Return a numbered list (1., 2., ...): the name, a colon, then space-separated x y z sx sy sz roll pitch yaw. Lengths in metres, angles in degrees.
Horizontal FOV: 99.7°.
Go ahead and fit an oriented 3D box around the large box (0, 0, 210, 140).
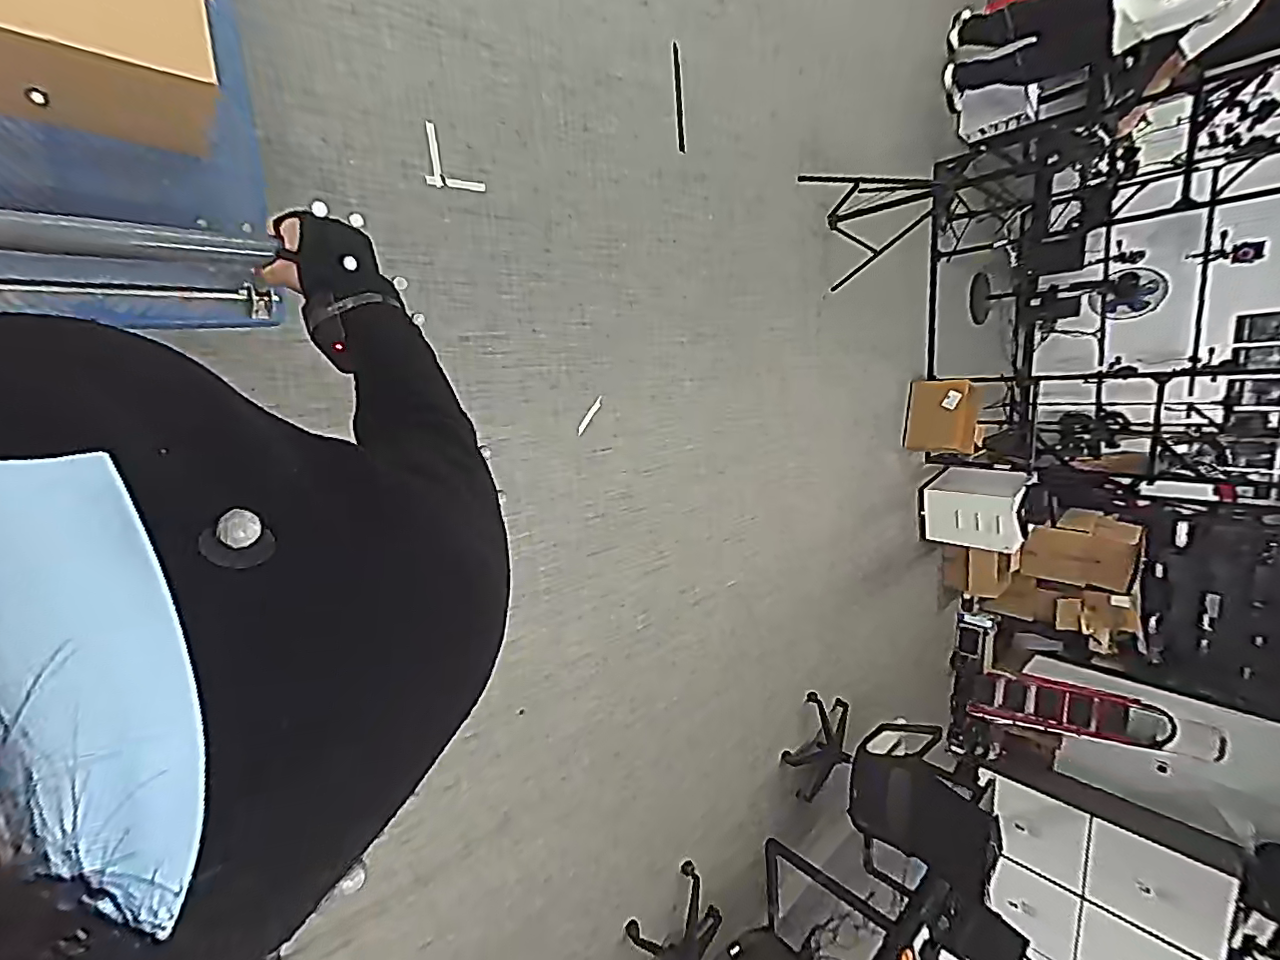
1. large box: -0.883 -0.730 0.747 0.408 0.320 0.320 -11 103 -41
